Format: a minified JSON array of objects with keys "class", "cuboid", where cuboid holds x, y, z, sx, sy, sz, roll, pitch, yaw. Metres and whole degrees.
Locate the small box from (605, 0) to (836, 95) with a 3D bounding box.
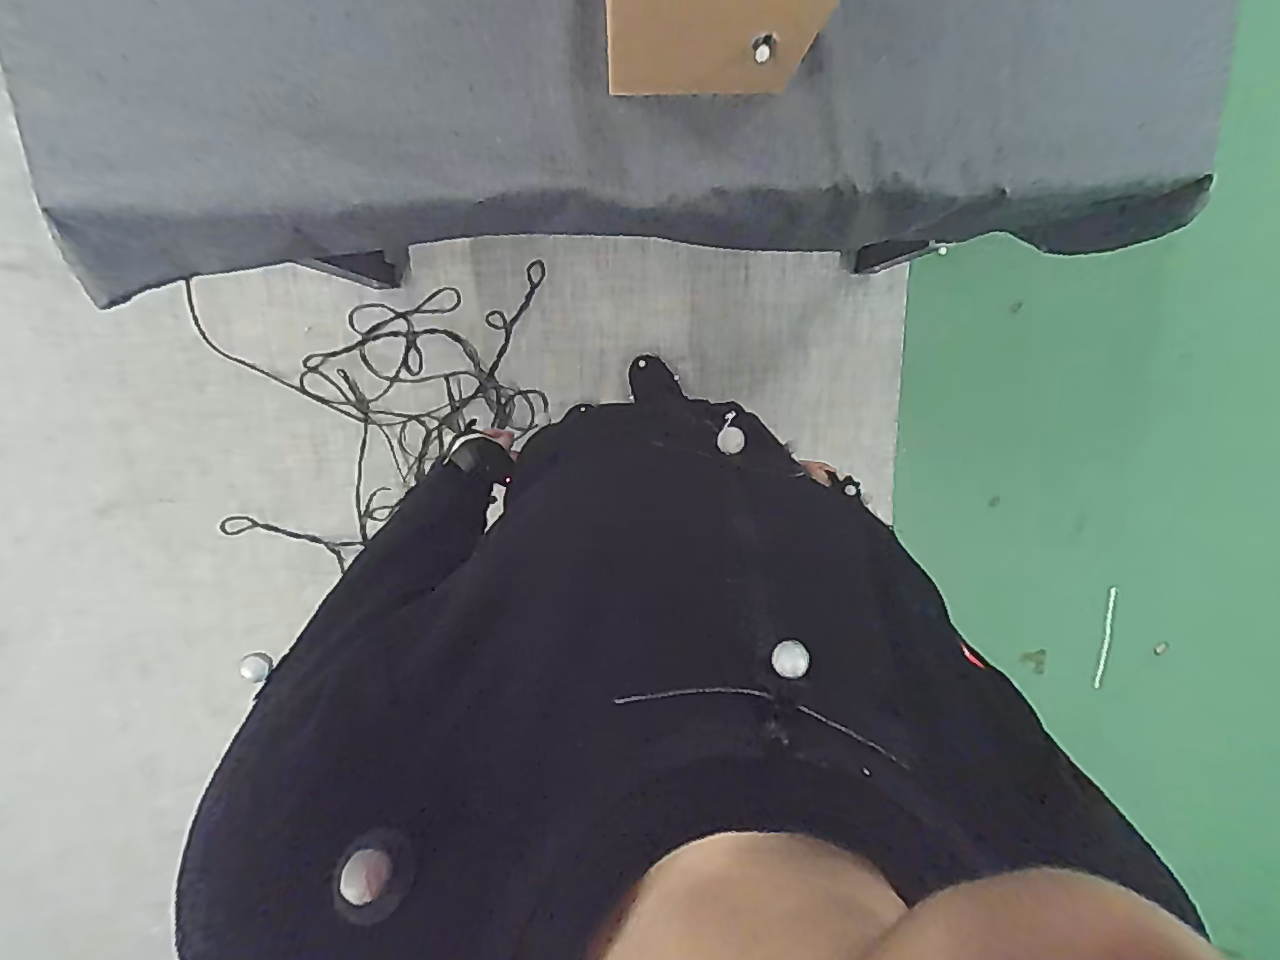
[{"class":"small box","cuboid":[0.058,-0.450,0.447,0.179,0.176,0.168,-3,100,-1]}]
